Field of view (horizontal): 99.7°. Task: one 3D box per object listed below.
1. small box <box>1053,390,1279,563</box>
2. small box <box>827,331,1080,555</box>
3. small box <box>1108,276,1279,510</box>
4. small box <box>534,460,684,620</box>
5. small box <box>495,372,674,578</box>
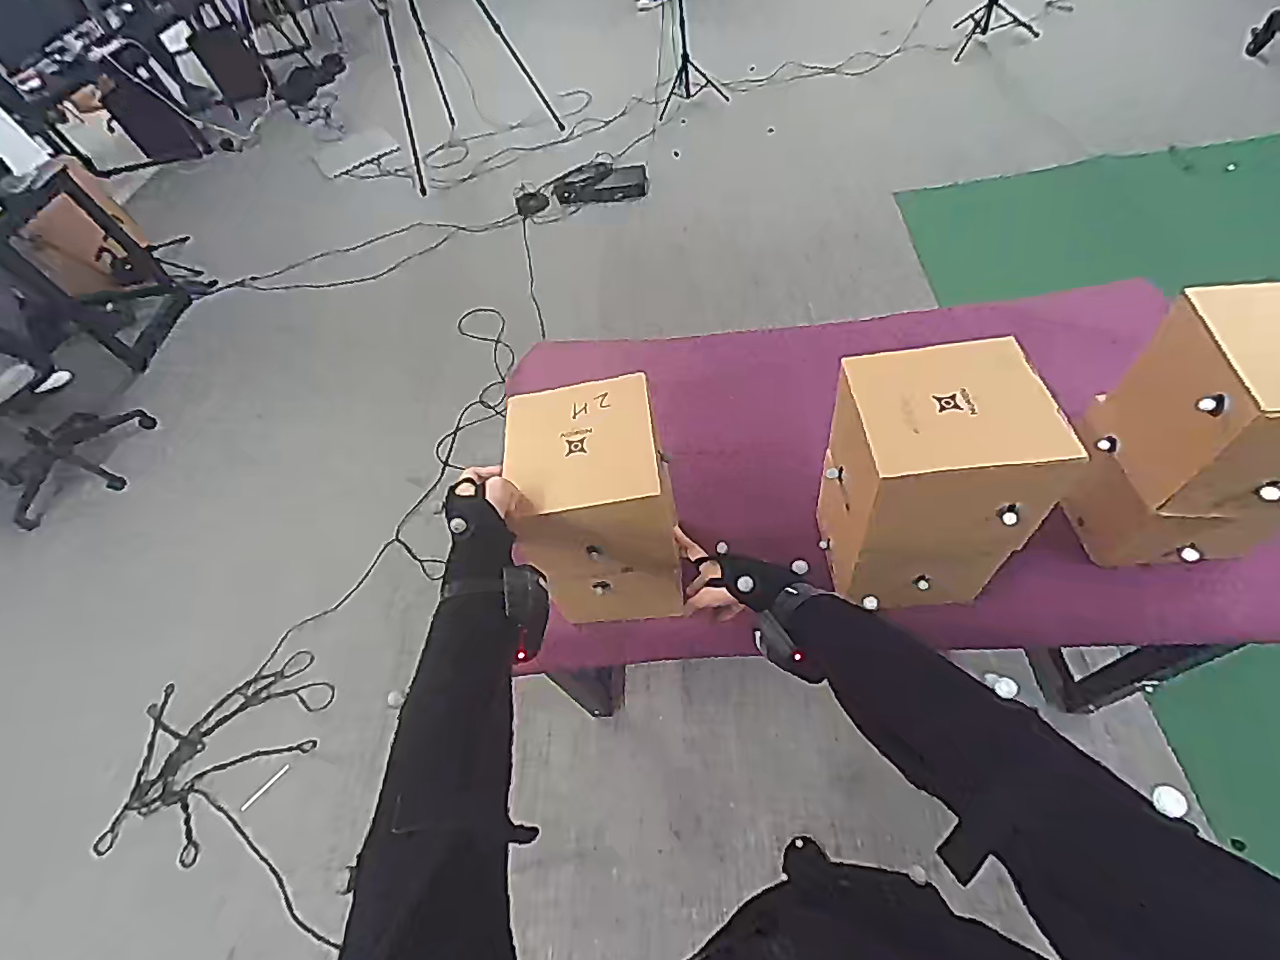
[{"bbox_3d":[0.678,-0.008,0.691,0.179,0.176,0.168,-7,52,10],"label":"small box"},{"bbox_3d":[0.312,-0.032,0.586,0.179,0.176,0.168,-6,52,10],"label":"small box"},{"bbox_3d":[0.633,-0.087,0.552,0.168,0.176,0.179,0,55,14],"label":"small box"},{"bbox_3d":[-0.036,0.093,0.780,0.179,0.176,0.168,-6,53,7],"label":"small box"},{"bbox_3d":[-0.057,0.004,0.644,0.168,0.176,0.179,-10,53,5],"label":"small box"}]
